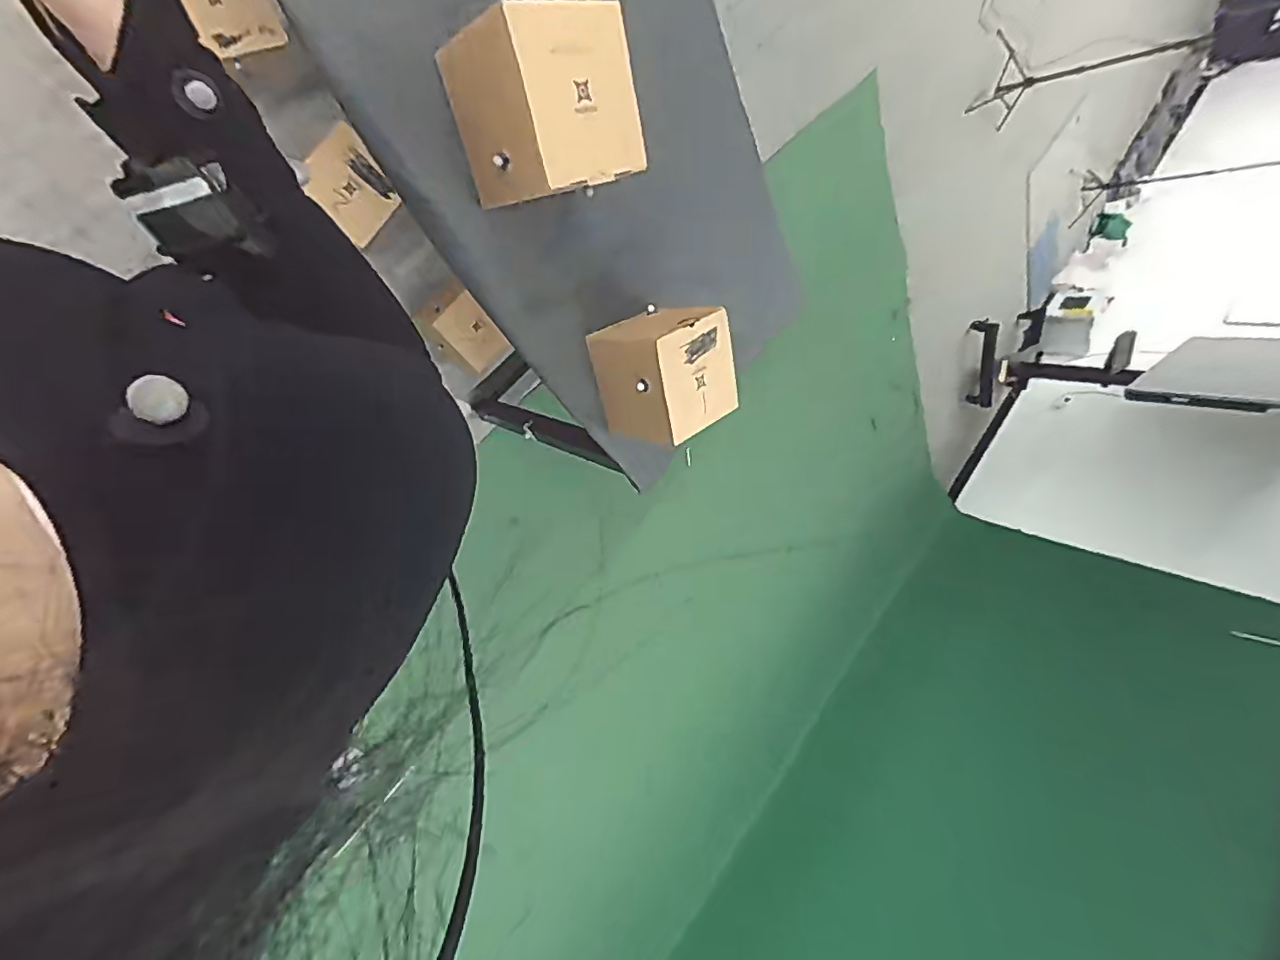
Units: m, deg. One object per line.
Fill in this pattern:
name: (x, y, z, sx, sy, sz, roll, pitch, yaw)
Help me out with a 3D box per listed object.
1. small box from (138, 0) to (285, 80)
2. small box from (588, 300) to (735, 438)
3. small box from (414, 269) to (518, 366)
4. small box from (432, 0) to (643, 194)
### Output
small box: (-0.778, -0.854, 0.961, 0.168, 0.176, 0.179, -39, 126, -25)
small box: (0.035, -0.191, 0.905, 0.168, 0.176, 0.179, -32, 123, -32)
small box: (-0.457, -0.421, 1.399, 0.179, 0.176, 0.168, -53, 133, -14)
small box: (-0.125, -0.468, 0.671, 0.168, 0.176, 0.179, -34, 124, -32)
